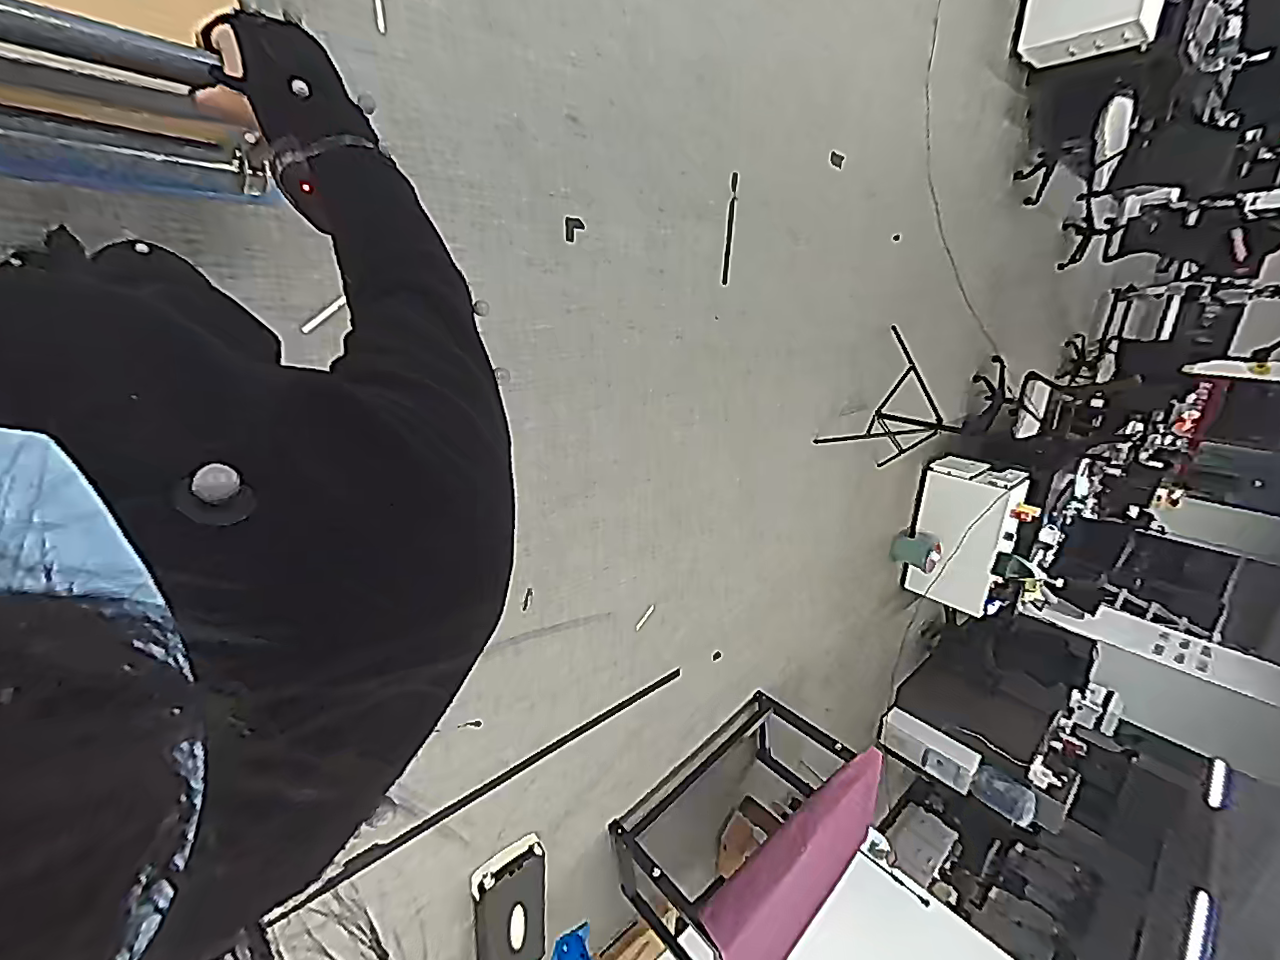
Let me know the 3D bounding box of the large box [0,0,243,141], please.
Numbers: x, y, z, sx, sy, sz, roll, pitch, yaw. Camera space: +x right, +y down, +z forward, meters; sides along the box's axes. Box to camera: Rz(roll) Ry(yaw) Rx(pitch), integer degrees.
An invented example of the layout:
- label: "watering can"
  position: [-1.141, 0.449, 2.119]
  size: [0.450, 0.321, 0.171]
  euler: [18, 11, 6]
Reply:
- label: "large box"
  position: [-0.788, -0.663, 0.673]
  size: [0.408, 0.320, 0.320]
  euler: [-13, 115, -41]
